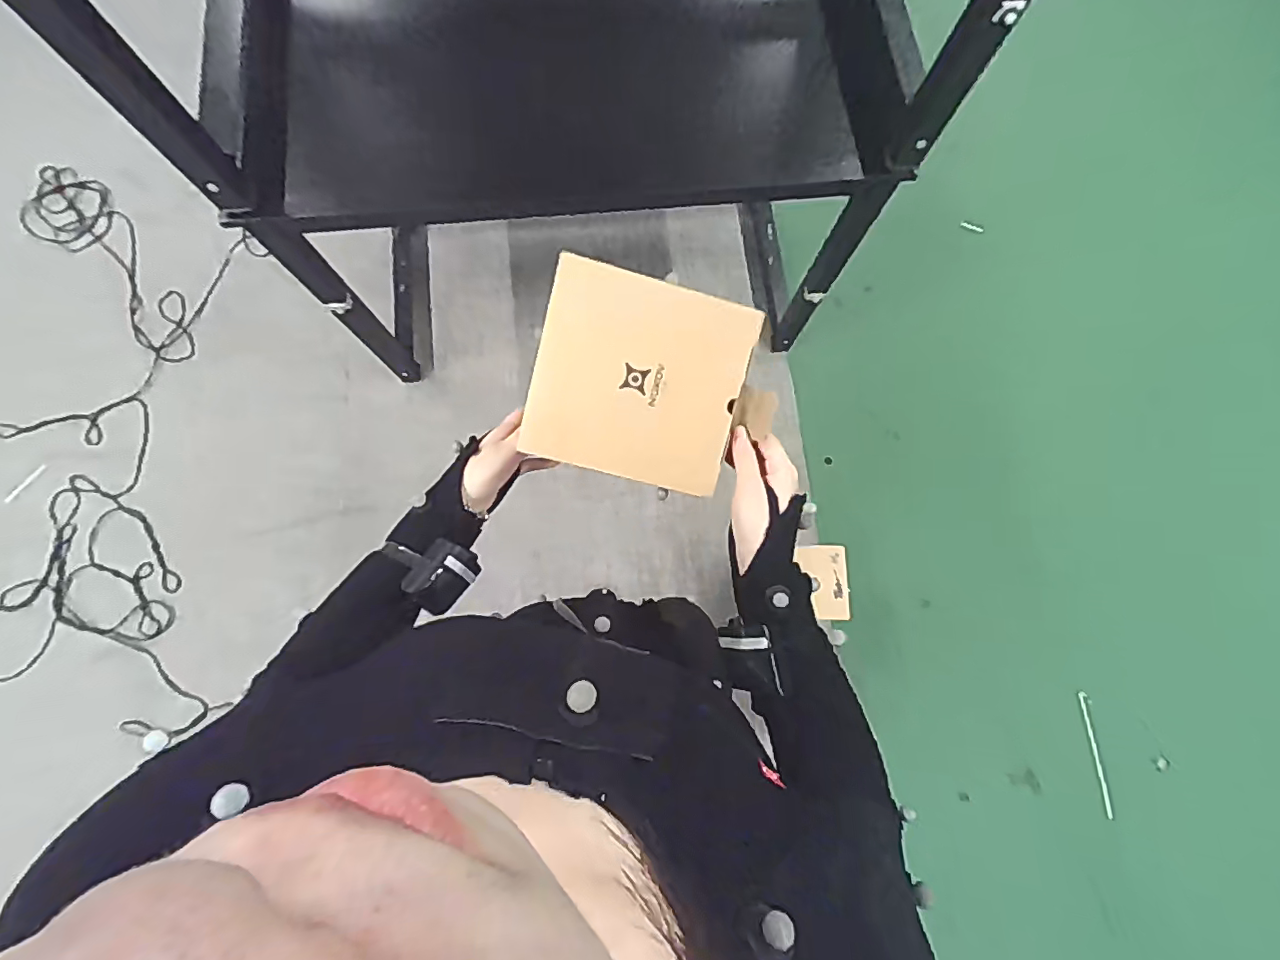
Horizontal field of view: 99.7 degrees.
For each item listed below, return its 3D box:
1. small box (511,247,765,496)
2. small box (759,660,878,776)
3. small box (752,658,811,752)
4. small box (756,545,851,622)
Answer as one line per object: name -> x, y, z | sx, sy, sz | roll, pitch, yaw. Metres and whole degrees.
small box -> -0.010, -0.094, 0.513 | 0.179, 0.176, 0.168 | 13, 97, -8
small box -> 0.388, 0.519, 1.214 | 0.168, 0.176, 0.179 | -25, 80, -4
small box -> 0.396, 0.559, 1.371 | 0.168, 0.176, 0.179 | -12, 79, -4
small box -> 0.373, 0.247, 1.269 | 0.179, 0.176, 0.168 | 1, 77, -1
